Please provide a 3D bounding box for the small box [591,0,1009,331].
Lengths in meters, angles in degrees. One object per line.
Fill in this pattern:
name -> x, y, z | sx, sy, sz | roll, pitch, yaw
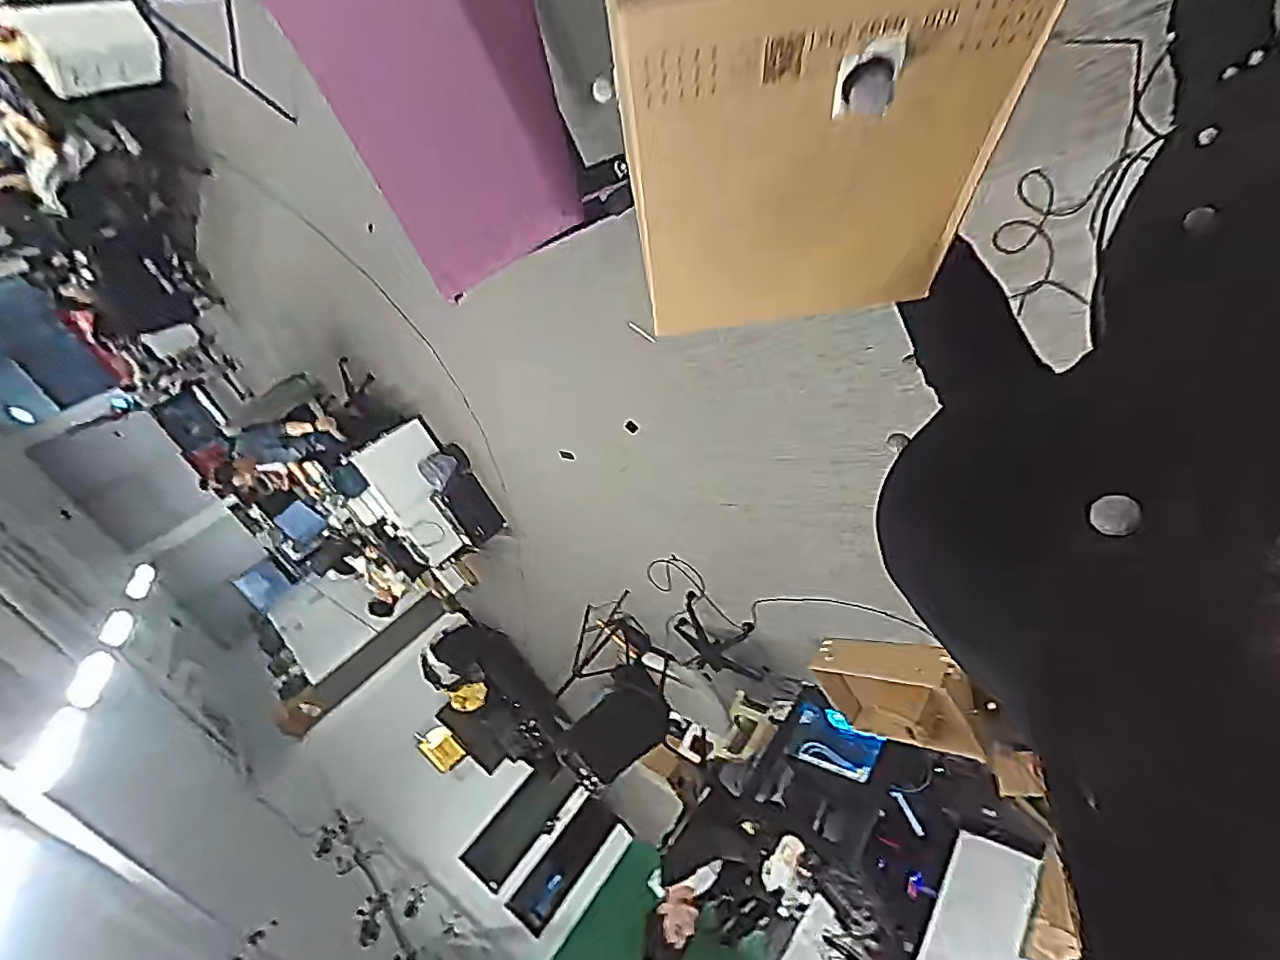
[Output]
small box -> 0.067, -0.215, 0.293 | 0.168, 0.179, 0.176 | -9, 151, 6
